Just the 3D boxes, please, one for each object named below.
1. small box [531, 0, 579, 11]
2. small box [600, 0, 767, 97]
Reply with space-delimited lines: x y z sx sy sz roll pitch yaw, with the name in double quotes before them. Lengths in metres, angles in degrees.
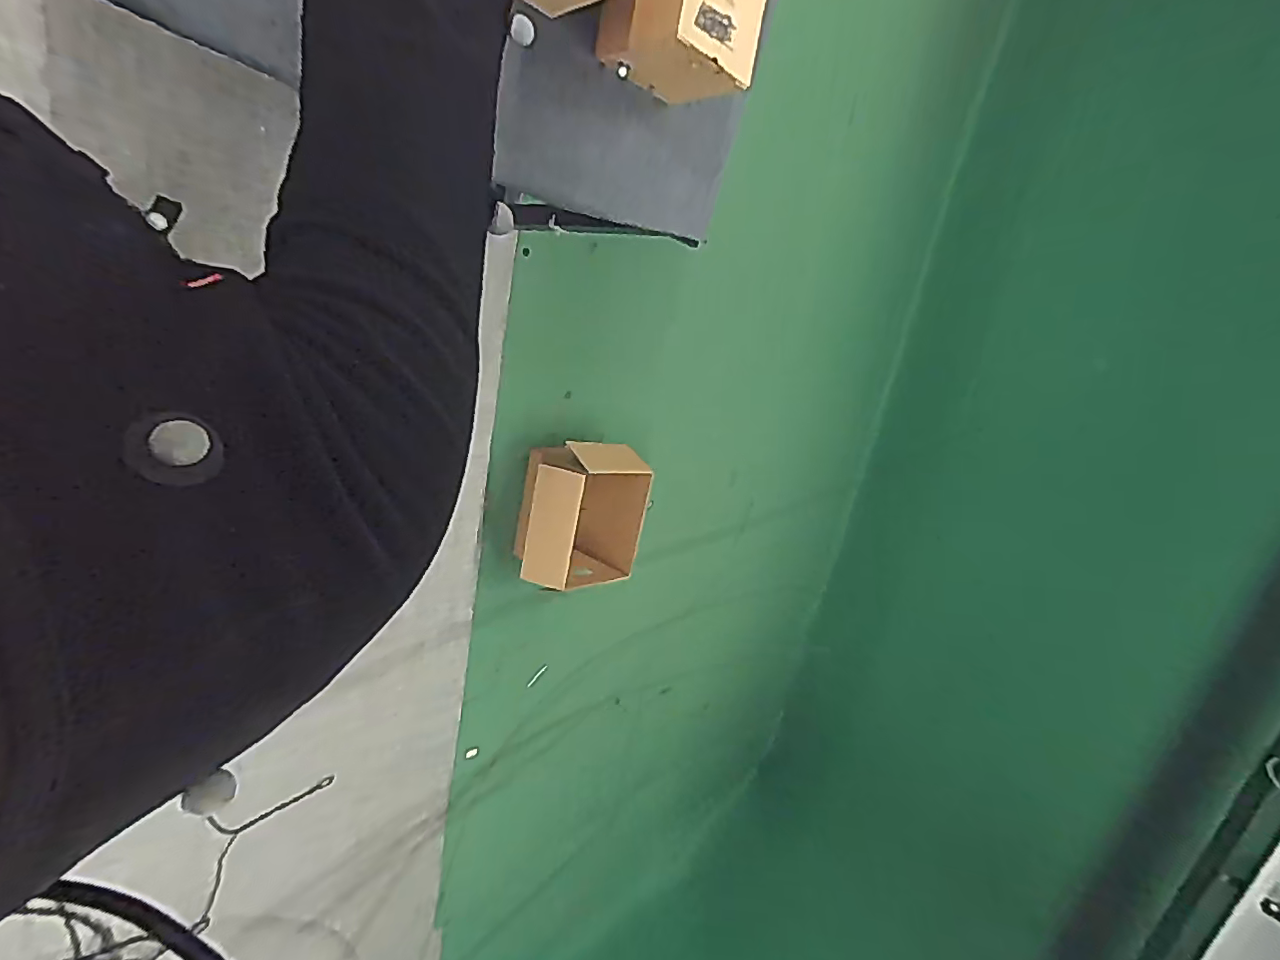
"small box" -0.104 -0.672 0.597 0.168 0.176 0.179 -6 113 -46
"small box" 0.062 -0.681 0.771 0.168 0.176 0.179 -7 113 -46
